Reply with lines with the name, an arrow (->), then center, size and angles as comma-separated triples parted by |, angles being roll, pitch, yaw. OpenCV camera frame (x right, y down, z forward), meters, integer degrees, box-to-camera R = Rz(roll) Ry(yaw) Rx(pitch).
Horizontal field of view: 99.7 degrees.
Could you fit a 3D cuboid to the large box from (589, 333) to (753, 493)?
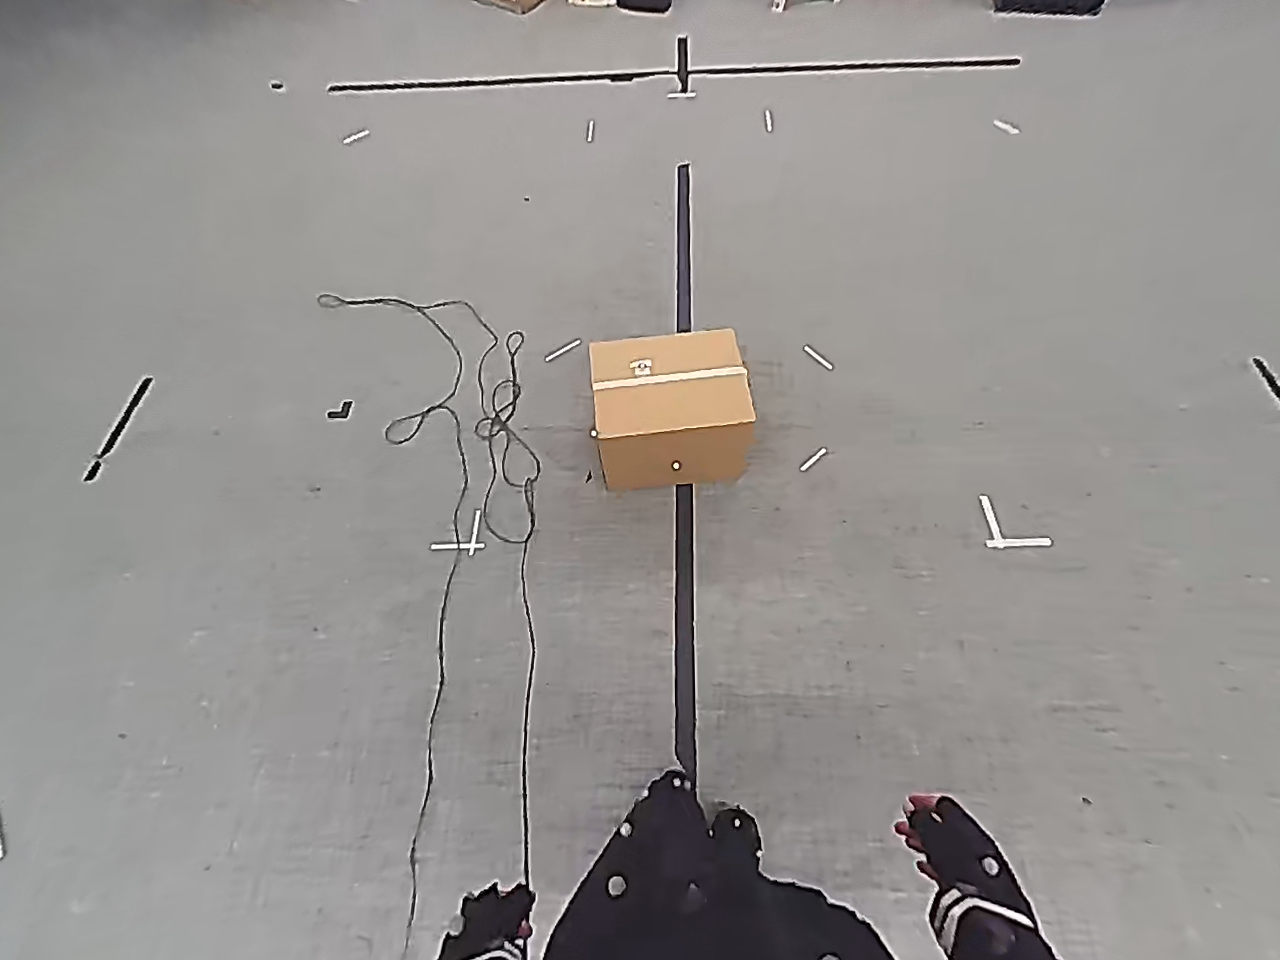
large box -> 0.081, -0.181, 1.555 | 0.408, 0.320, 0.320 | -7, 62, 0
